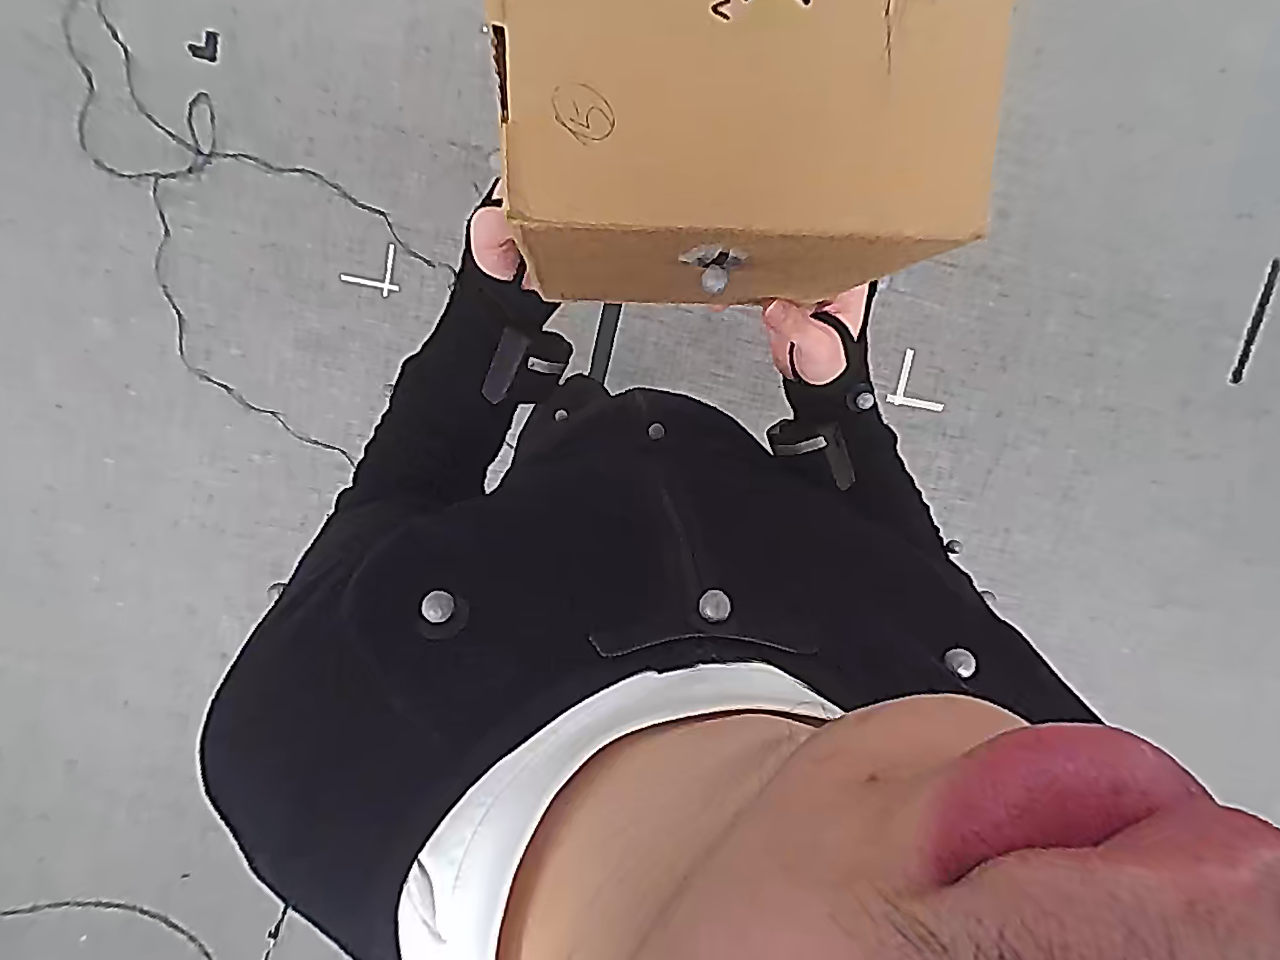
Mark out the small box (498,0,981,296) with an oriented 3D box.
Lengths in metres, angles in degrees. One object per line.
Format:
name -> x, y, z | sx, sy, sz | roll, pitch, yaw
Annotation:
small box -> 0.030, -0.190, 0.267 | 0.179, 0.176, 0.168 | -2, 100, -6
